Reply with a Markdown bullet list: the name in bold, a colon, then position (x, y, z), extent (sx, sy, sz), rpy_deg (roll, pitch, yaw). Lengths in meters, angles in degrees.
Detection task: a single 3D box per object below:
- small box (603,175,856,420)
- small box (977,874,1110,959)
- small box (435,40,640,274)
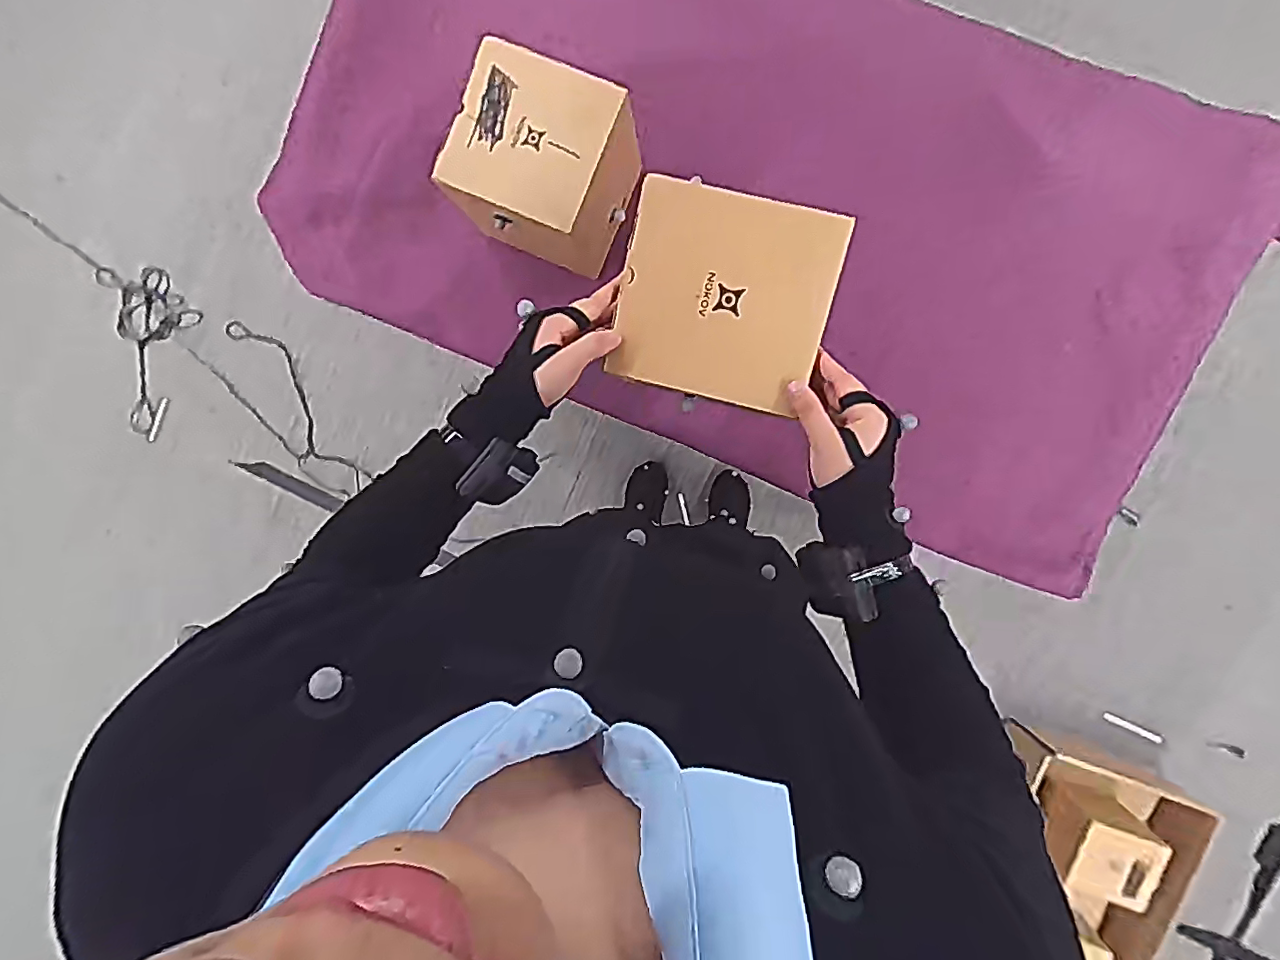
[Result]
- **small box**: position (0.078, -0.163, 0.528), extent (0.179, 0.176, 0.168), rpy_deg (15, 100, 3)
- **small box**: position (0.974, 1.119, 1.325), extent (0.179, 0.176, 0.168), rpy_deg (20, 95, 4)
- **small box**: position (-0.114, -0.382, 0.676), extent (0.179, 0.176, 0.168), rpy_deg (24, 96, 4)
